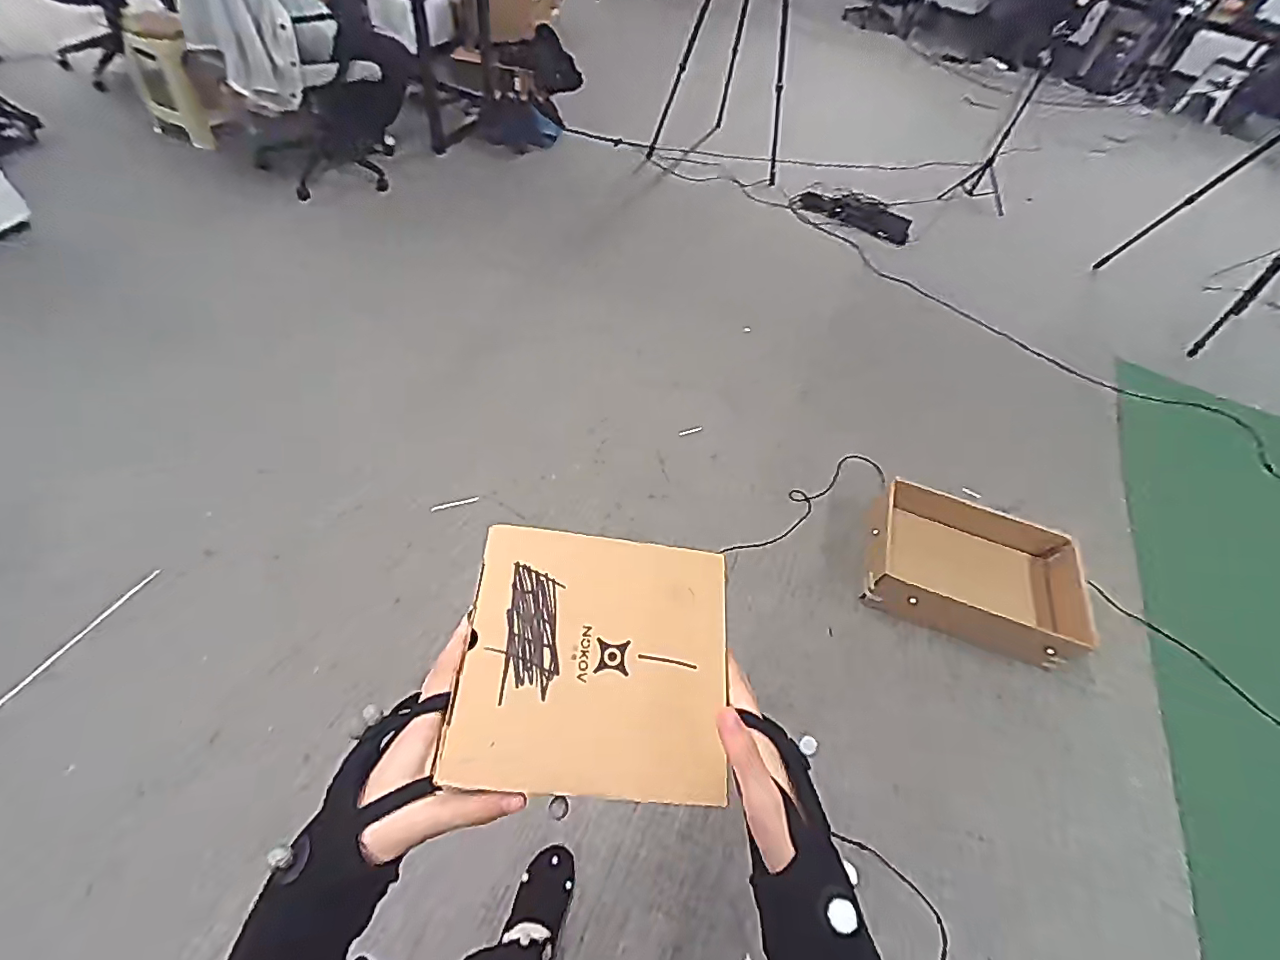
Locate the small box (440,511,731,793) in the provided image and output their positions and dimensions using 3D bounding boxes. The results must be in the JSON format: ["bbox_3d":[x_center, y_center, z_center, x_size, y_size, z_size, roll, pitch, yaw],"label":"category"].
[{"bbox_3d":[-0.039,0.144,0.423,0.179,0.176,0.168,10,60,-9],"label":"small box"}]
